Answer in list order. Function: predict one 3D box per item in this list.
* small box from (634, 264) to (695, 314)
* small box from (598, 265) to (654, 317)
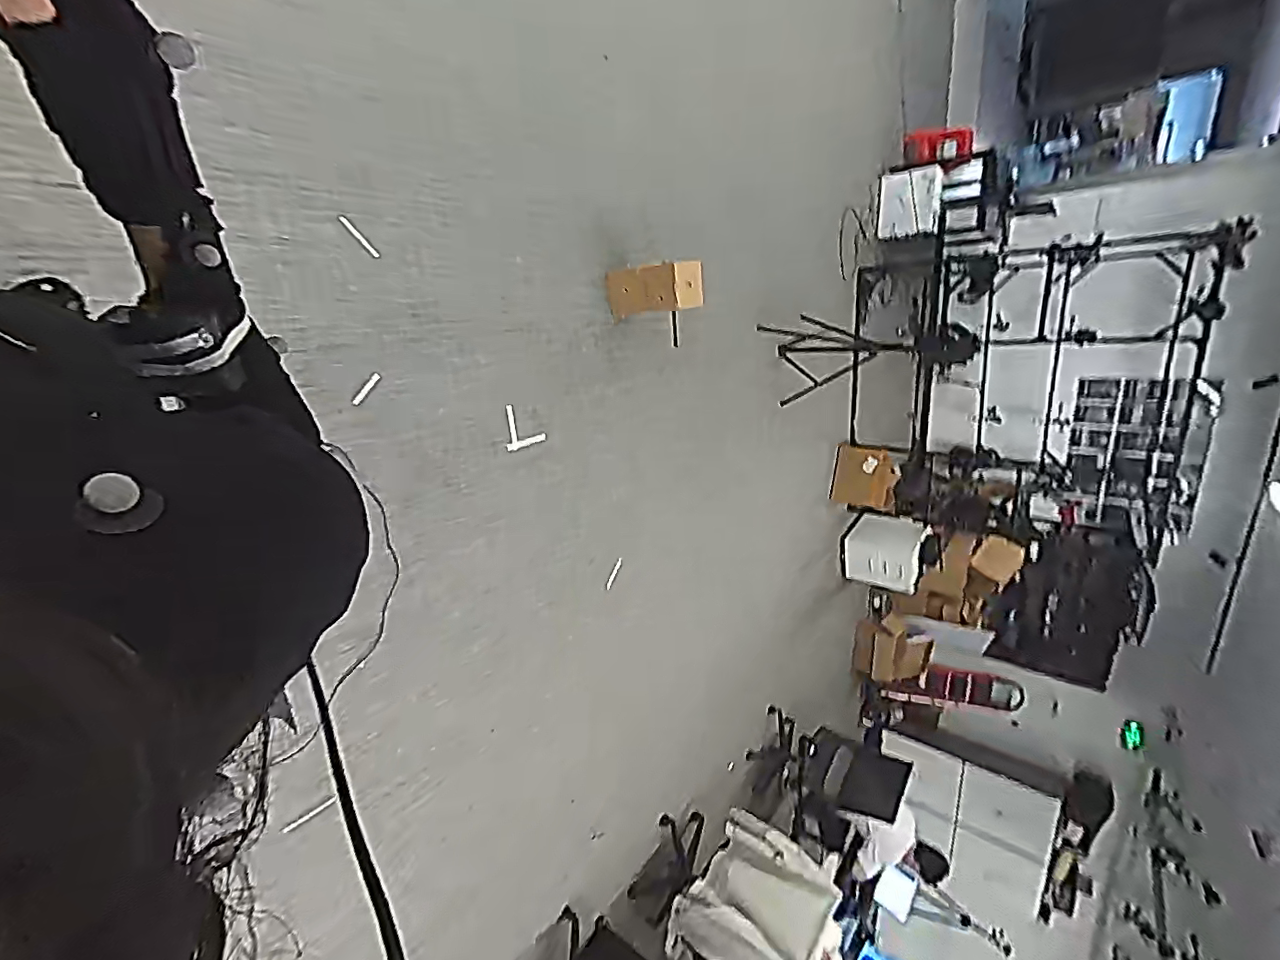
[{"bbox_3d":[0.090,-0.733,2.078,0.179,0.176,0.168,-29,121,-46],"label":"small box"},{"bbox_3d":[-0.045,-0.754,2.166,0.168,0.176,0.179,-33,121,-44],"label":"small box"}]
